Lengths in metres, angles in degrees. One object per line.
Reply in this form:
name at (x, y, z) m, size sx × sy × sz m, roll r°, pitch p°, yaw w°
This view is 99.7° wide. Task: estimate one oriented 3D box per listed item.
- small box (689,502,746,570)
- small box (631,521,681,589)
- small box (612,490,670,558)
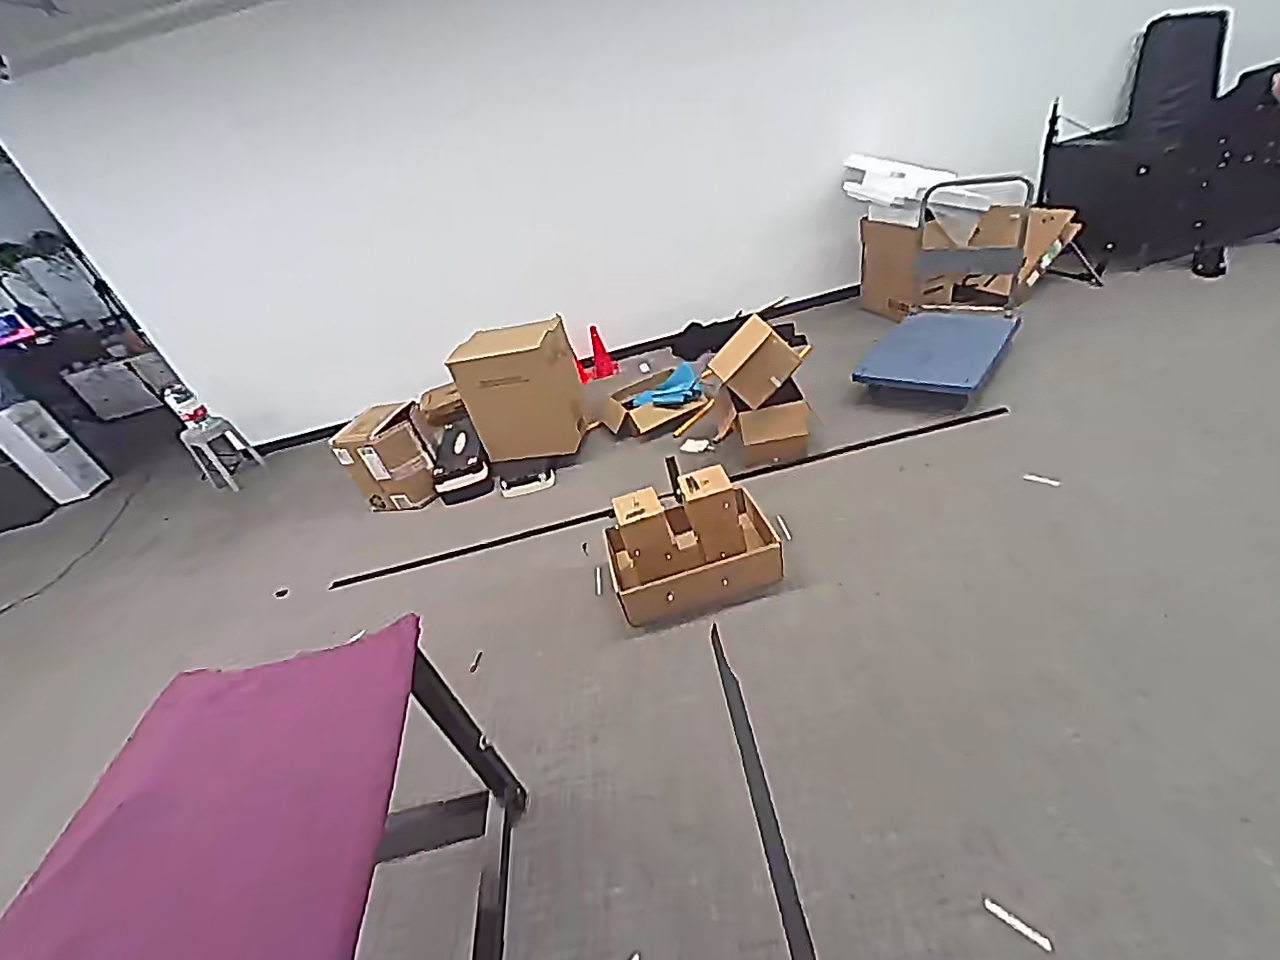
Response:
small box at (0.304, 0.220, 2.111) m, size 0.168 × 0.176 × 0.179 m, roll -18°, pitch 33°, yaw -1°
small box at (0.055, 0.293, 2.101) m, size 0.179 × 0.176 × 0.168 m, roll -17°, pitch 32°, yaw -4°
small box at (0.004, 0.168, 2.005) m, size 0.168 × 0.176 × 0.179 m, roll -17°, pitch 32°, yaw -5°
